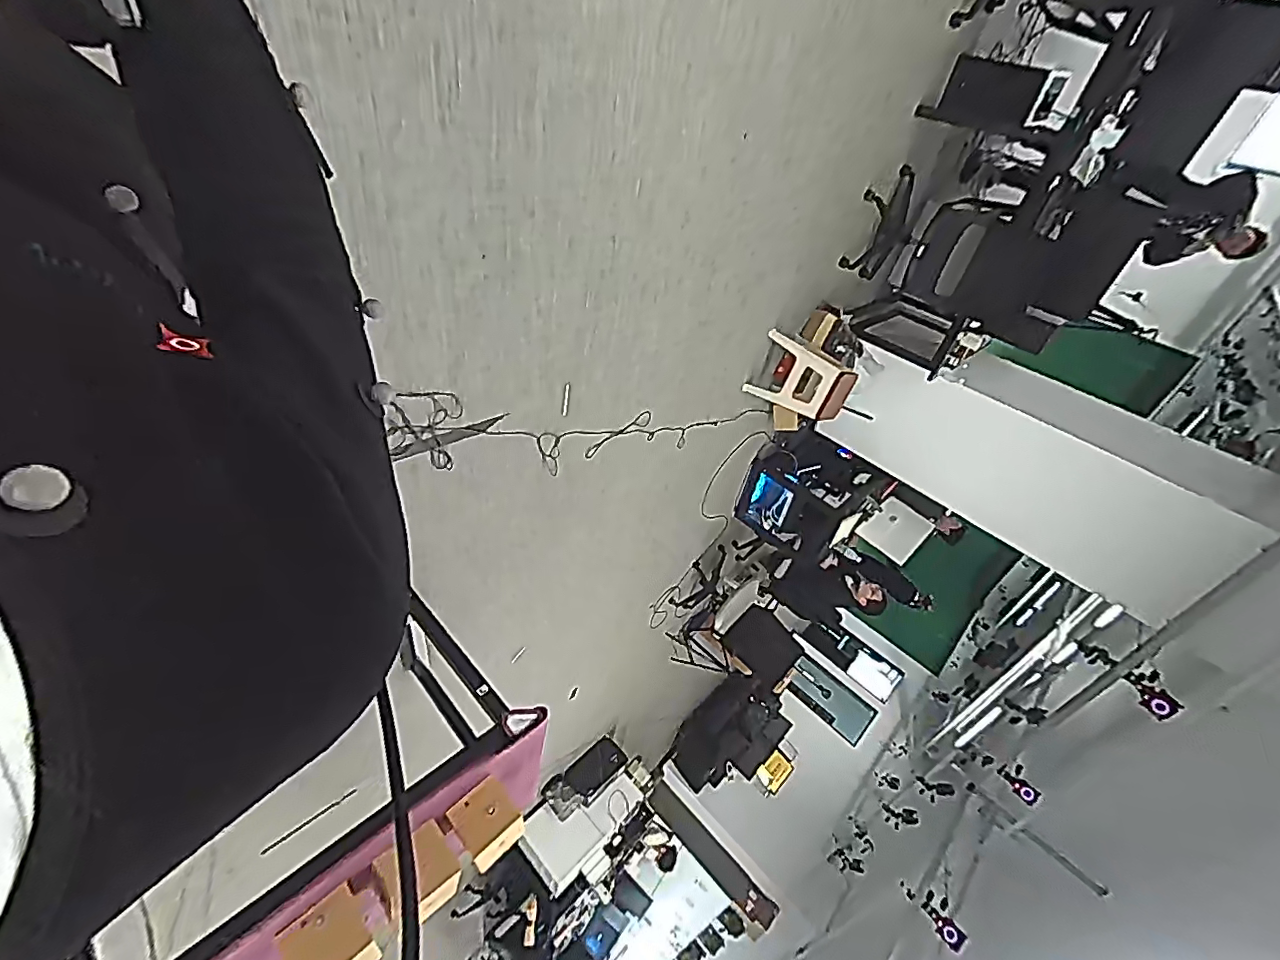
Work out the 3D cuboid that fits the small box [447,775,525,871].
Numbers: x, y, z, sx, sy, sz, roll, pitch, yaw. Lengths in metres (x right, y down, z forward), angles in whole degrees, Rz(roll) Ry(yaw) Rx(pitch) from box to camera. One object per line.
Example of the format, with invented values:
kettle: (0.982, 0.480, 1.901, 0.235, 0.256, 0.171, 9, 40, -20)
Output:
small box: (-0.477, 1.055, 1.675, 0.168, 0.176, 0.179, -32, 145, -33)
